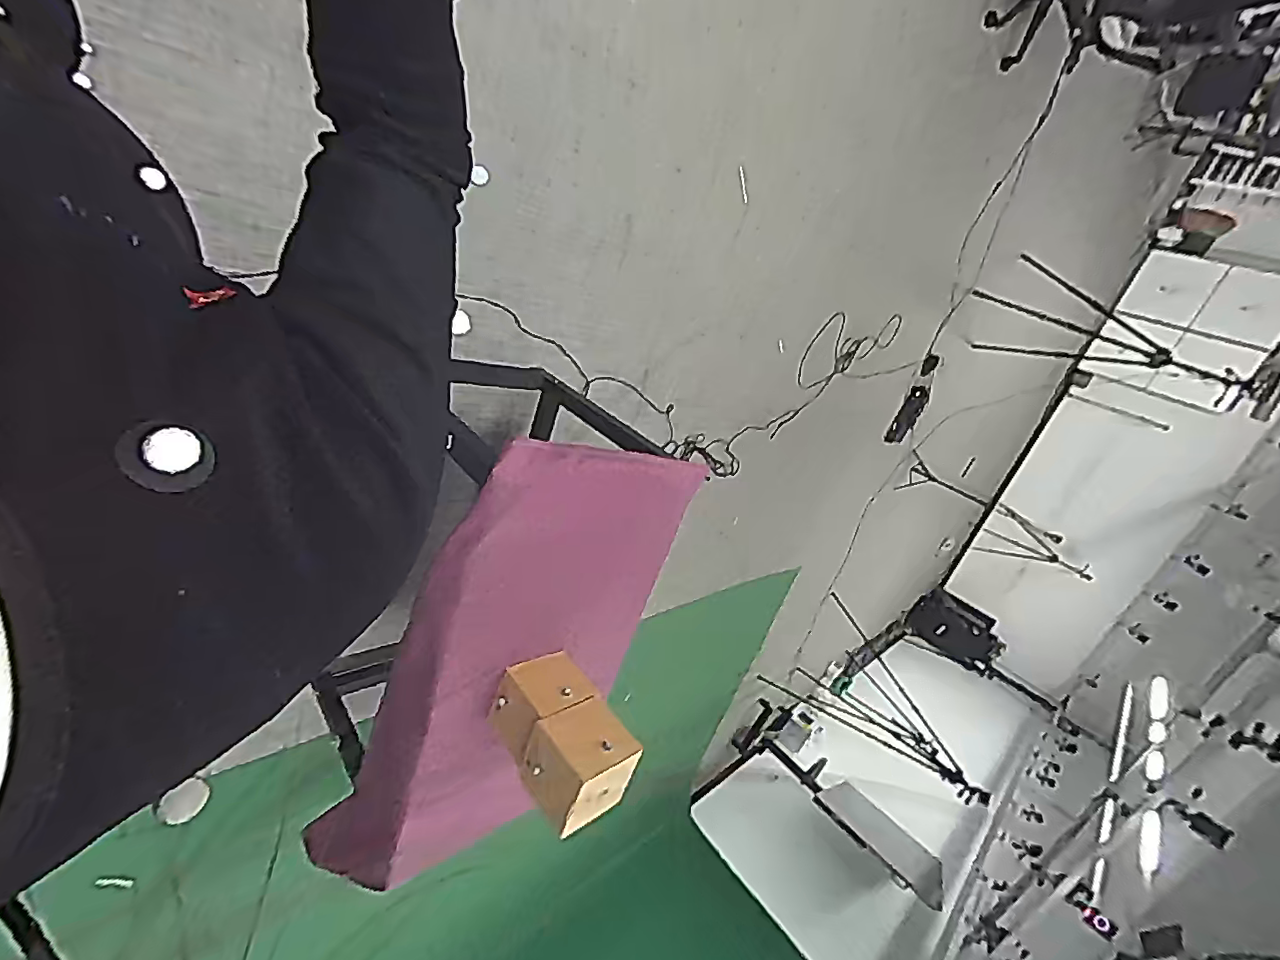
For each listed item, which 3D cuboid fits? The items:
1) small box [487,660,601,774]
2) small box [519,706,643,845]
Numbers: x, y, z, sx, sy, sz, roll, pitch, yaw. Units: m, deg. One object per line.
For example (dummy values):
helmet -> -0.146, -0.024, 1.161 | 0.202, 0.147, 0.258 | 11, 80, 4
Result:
small box -> -0.228, 0.553, 1.278 | 0.179, 0.176, 0.168 | 2, 115, -48
small box -> -0.129, 0.624, 1.167 | 0.179, 0.176, 0.168 | 0, 116, -48
